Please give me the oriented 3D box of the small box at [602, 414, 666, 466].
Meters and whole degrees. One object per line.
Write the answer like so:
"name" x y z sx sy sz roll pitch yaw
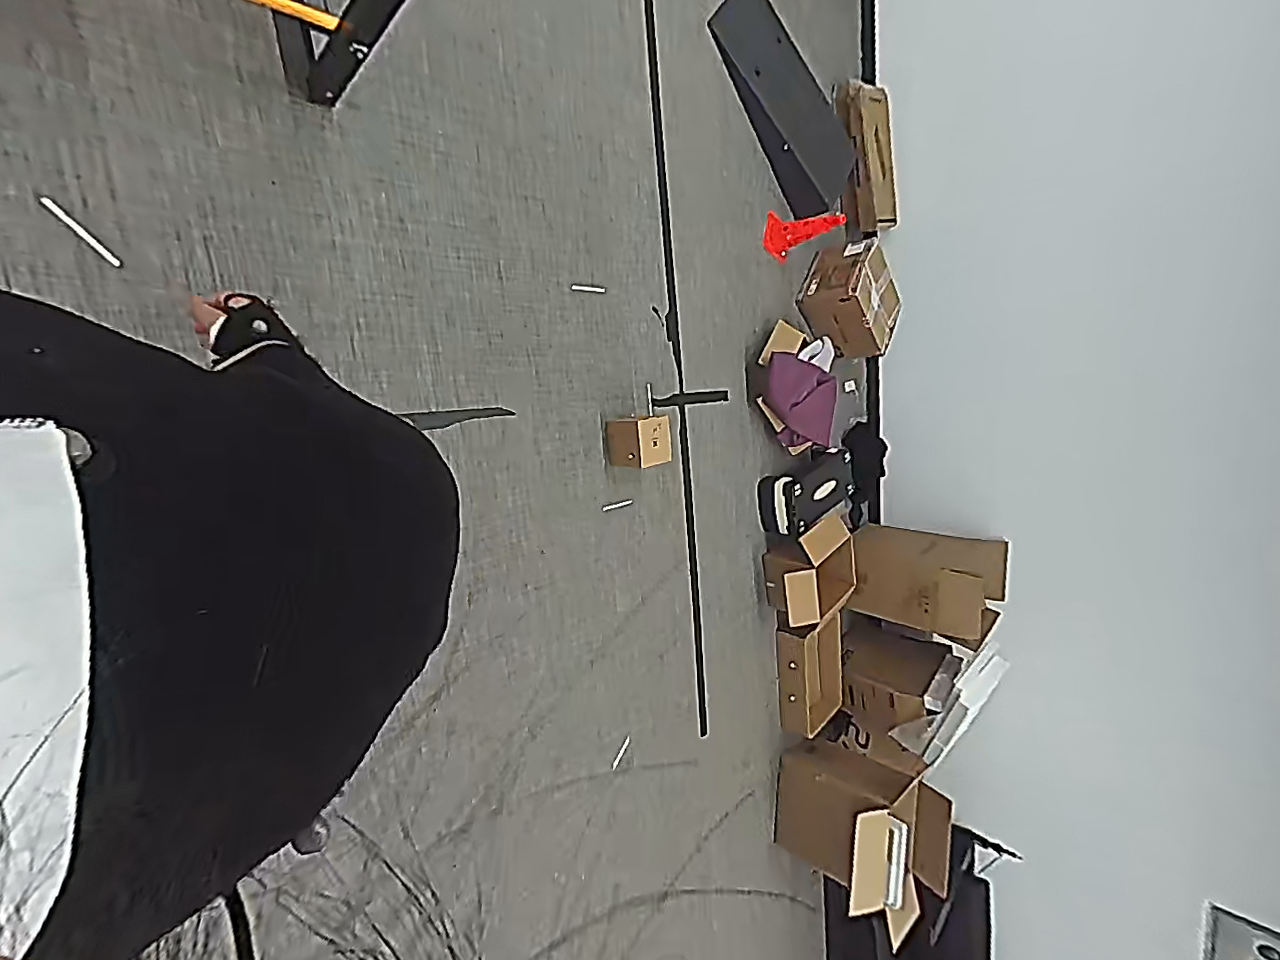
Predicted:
"small box" -0.024 -0.155 2.033 0.168 0.176 0.179 -16 105 -43
